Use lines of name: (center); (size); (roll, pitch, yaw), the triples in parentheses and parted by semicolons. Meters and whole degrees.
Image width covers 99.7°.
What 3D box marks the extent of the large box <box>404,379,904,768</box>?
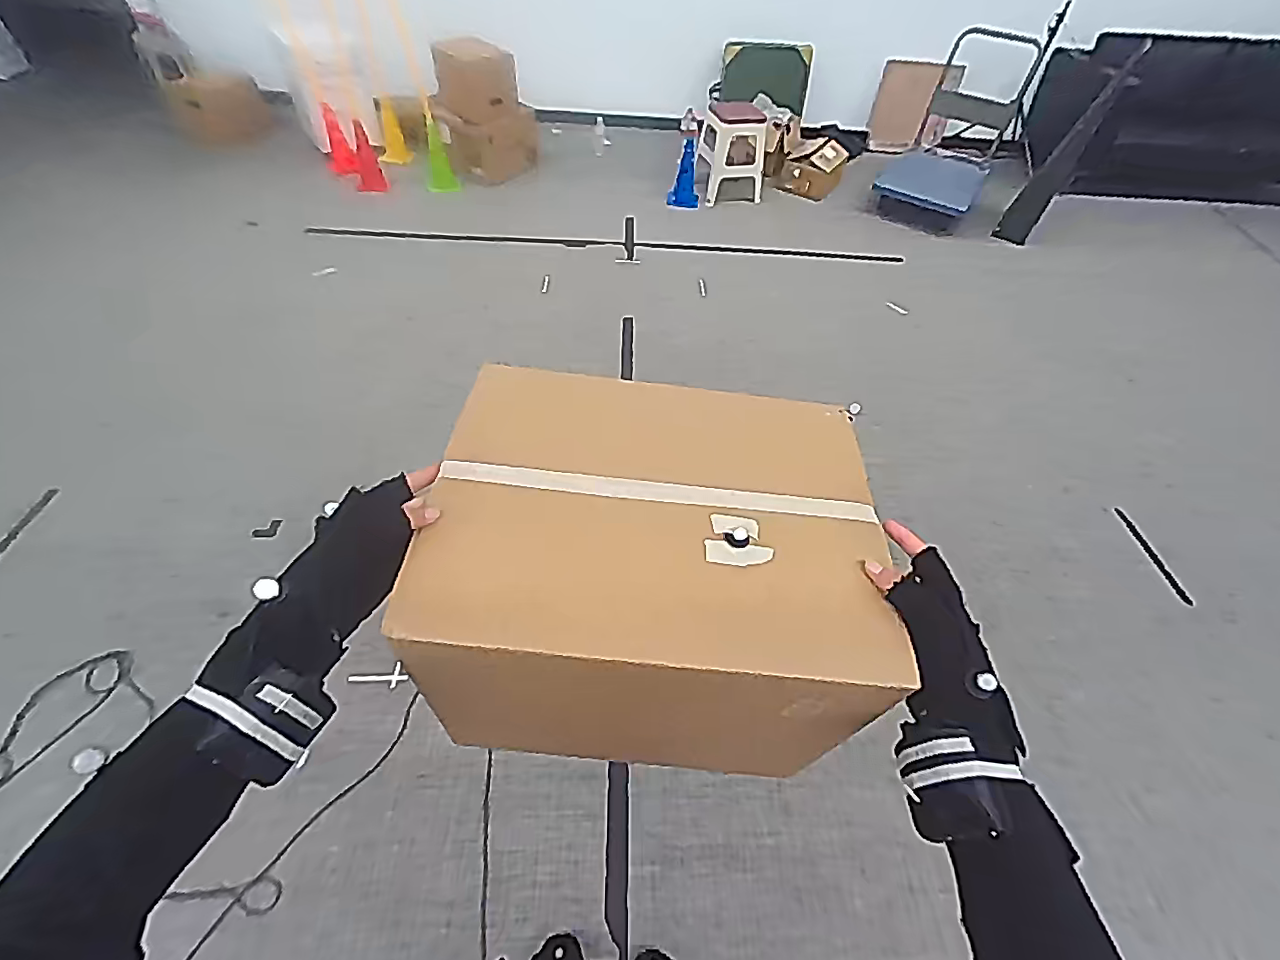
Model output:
large box: (0.006, 0.117, 0.627); (0.408, 0.320, 0.320); (7, 50, -2)
